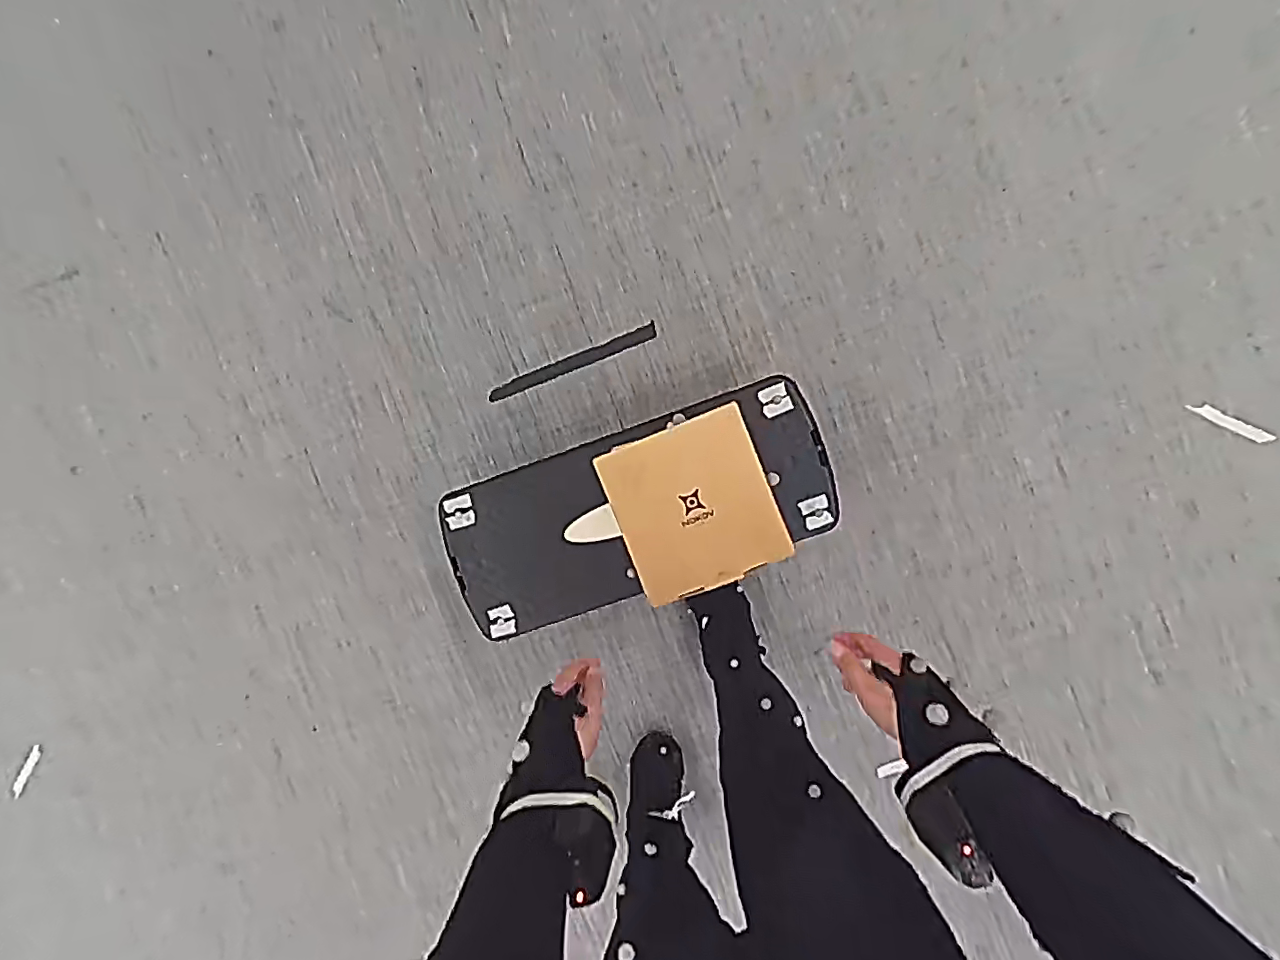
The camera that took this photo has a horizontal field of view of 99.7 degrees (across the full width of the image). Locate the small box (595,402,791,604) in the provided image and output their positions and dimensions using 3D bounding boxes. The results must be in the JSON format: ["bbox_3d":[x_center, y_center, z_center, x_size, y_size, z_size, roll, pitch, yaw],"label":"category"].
[{"bbox_3d":[0.058,0.023,0.655,0.168,0.176,0.179,-22,92,4],"label":"small box"}]

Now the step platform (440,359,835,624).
[{"bbox_3d":[-0.006,0.023,0.996,0.684,0.204,0.286,-20,91,5],"label":"step platform"}]
